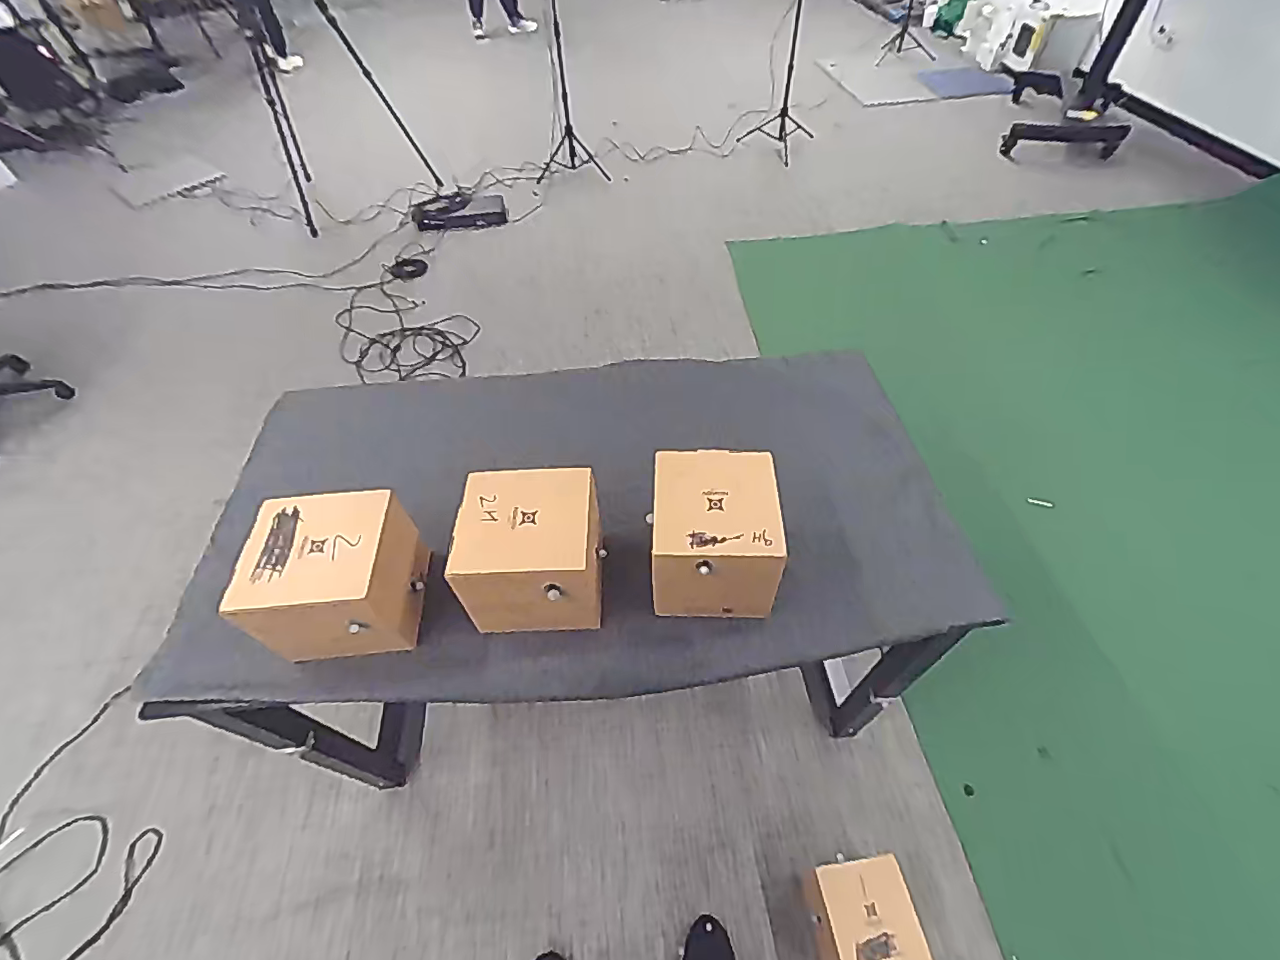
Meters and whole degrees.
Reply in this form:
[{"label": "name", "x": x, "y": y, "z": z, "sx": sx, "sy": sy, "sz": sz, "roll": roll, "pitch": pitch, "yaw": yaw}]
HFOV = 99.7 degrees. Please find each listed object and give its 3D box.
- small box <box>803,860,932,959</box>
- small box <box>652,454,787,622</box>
[{"label": "small box", "x": 0.437, "y": 0.867, "z": 1.062, "sx": 0.168, "sy": 0.176, "sz": 0.179, "roll": -7, "pitch": 51, "yaw": -3}, {"label": "small box", "x": 0.104, "y": 0.082, "z": 0.769, "sx": 0.168, "sy": 0.176, "sz": 0.179, "roll": 0, "pitch": 49, "yaw": 4}]
